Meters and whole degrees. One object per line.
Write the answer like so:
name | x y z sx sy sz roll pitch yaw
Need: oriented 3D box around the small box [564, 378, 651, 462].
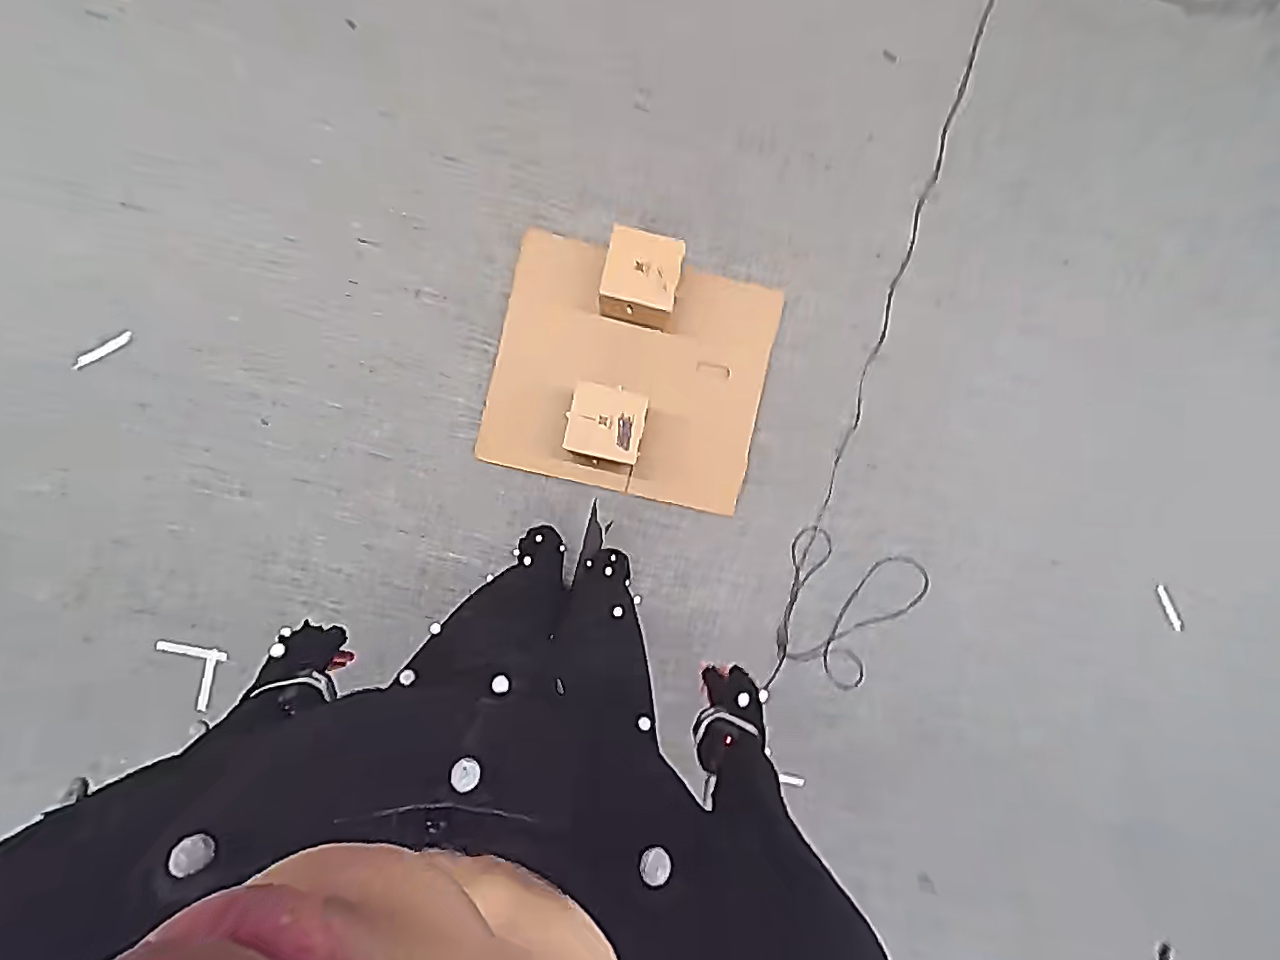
small box | -0.080 -0.143 1.339 0.179 0.176 0.168 13 90 -4

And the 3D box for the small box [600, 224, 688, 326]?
small box | 0.005 -0.496 1.335 0.179 0.176 0.168 14 91 -5
